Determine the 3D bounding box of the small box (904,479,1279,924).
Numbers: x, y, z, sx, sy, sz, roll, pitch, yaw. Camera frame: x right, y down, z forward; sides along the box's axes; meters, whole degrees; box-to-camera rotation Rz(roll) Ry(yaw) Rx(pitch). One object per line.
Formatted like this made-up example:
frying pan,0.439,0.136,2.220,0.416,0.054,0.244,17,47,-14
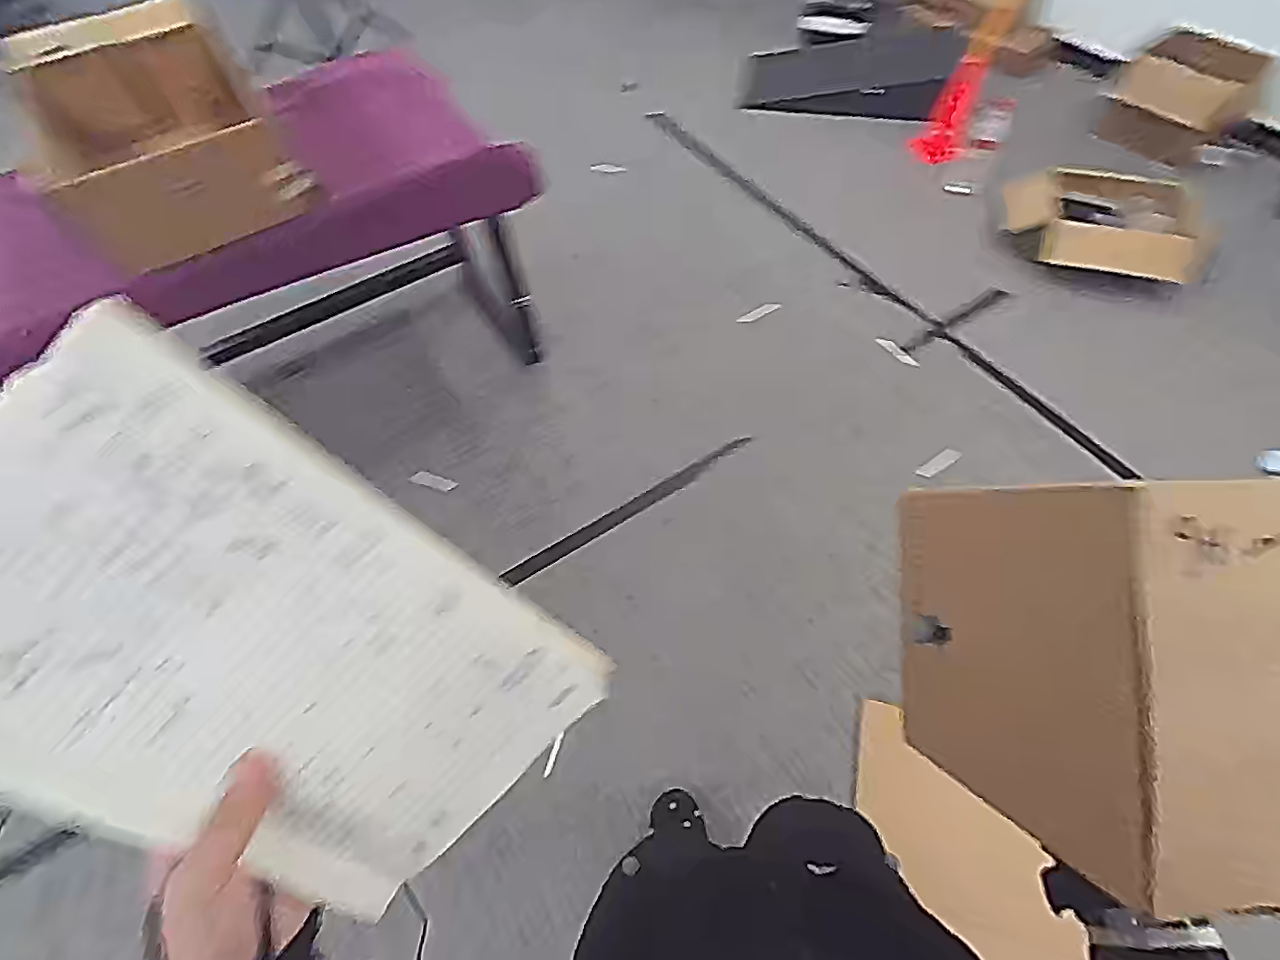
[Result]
small box,0.269,0.089,0.299,0.168,0.176,0.179,0,88,-7
